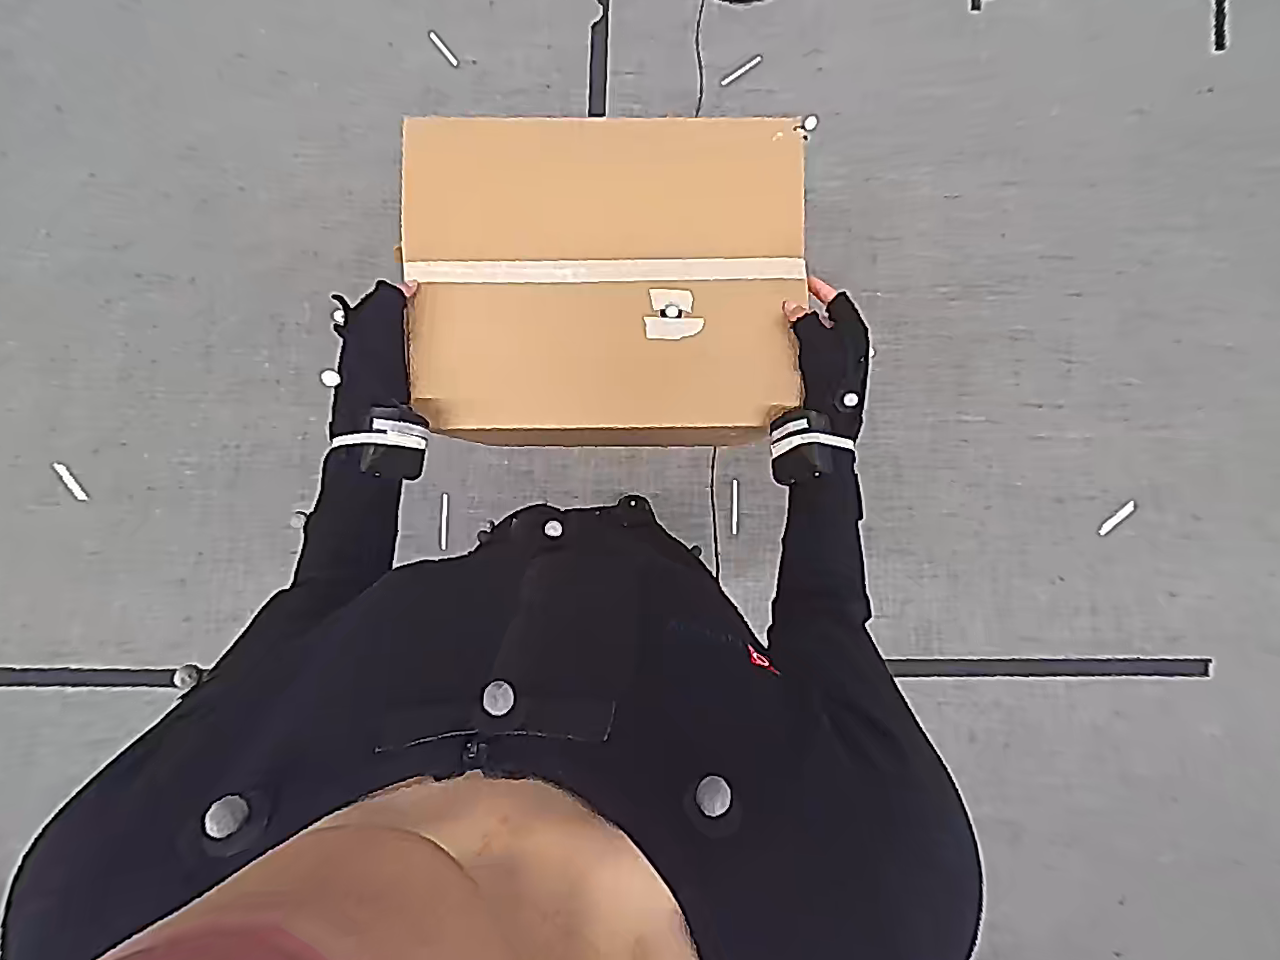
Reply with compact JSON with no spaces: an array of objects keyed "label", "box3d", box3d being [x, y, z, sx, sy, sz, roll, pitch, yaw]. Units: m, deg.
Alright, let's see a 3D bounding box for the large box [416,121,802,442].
[{"label":"large box","box3d":[-0.036,-0.220,0.714,0.408,0.320,0.320,-1,91,-1]}]
